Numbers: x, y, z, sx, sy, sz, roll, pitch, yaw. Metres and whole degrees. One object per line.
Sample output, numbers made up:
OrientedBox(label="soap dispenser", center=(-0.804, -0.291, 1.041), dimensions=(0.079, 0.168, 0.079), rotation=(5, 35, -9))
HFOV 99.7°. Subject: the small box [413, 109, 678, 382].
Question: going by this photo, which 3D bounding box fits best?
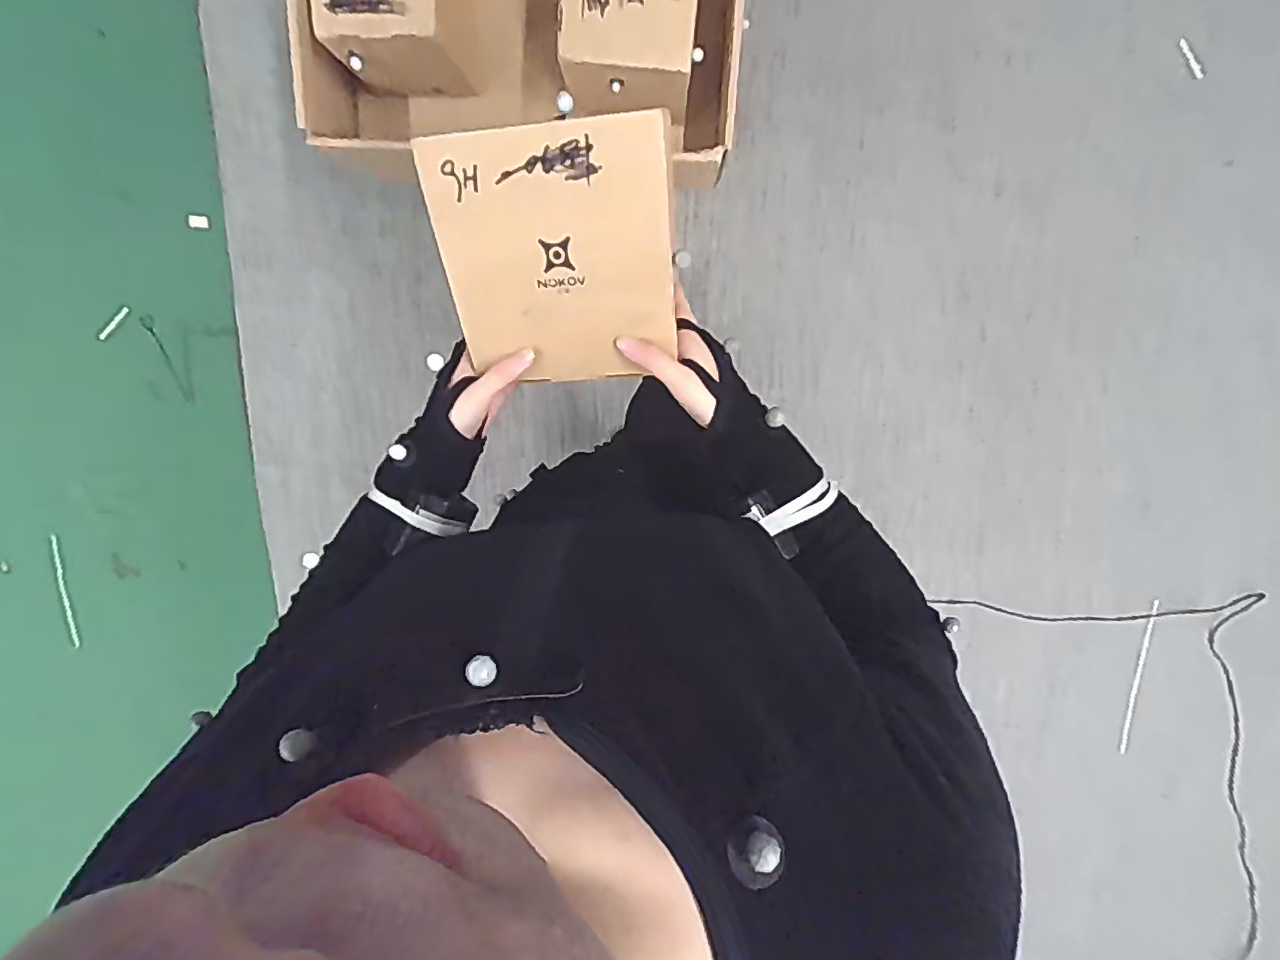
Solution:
OrientedBox(label="small box", center=(-0.055, -0.200, 0.456), dimensions=(0.168, 0.176, 0.179), rotation=(-3, 124, 6))
